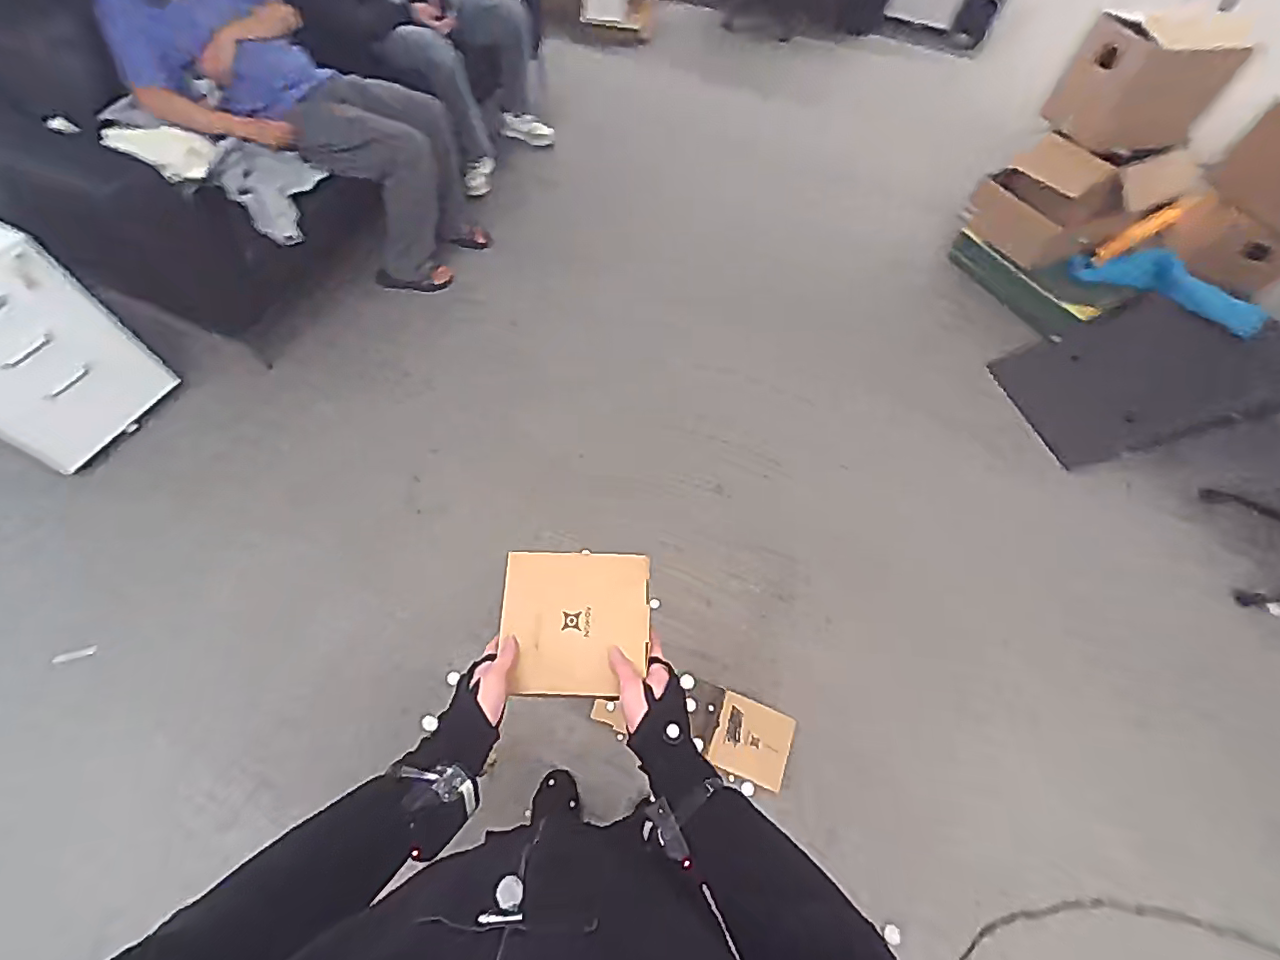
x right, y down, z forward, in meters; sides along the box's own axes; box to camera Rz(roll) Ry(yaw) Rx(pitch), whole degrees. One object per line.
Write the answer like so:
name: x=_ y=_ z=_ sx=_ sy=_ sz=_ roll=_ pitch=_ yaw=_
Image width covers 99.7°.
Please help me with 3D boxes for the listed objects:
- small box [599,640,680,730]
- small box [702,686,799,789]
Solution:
small box: x=-0.001 y=0.522 z=1.366 sx=0.179 sy=0.176 sz=0.168 roll=-9 pitch=59 yaw=-5
small box: x=0.262 y=0.631 z=1.320 sx=0.179 sy=0.176 sz=0.168 roll=23 pitch=65 yaw=13
